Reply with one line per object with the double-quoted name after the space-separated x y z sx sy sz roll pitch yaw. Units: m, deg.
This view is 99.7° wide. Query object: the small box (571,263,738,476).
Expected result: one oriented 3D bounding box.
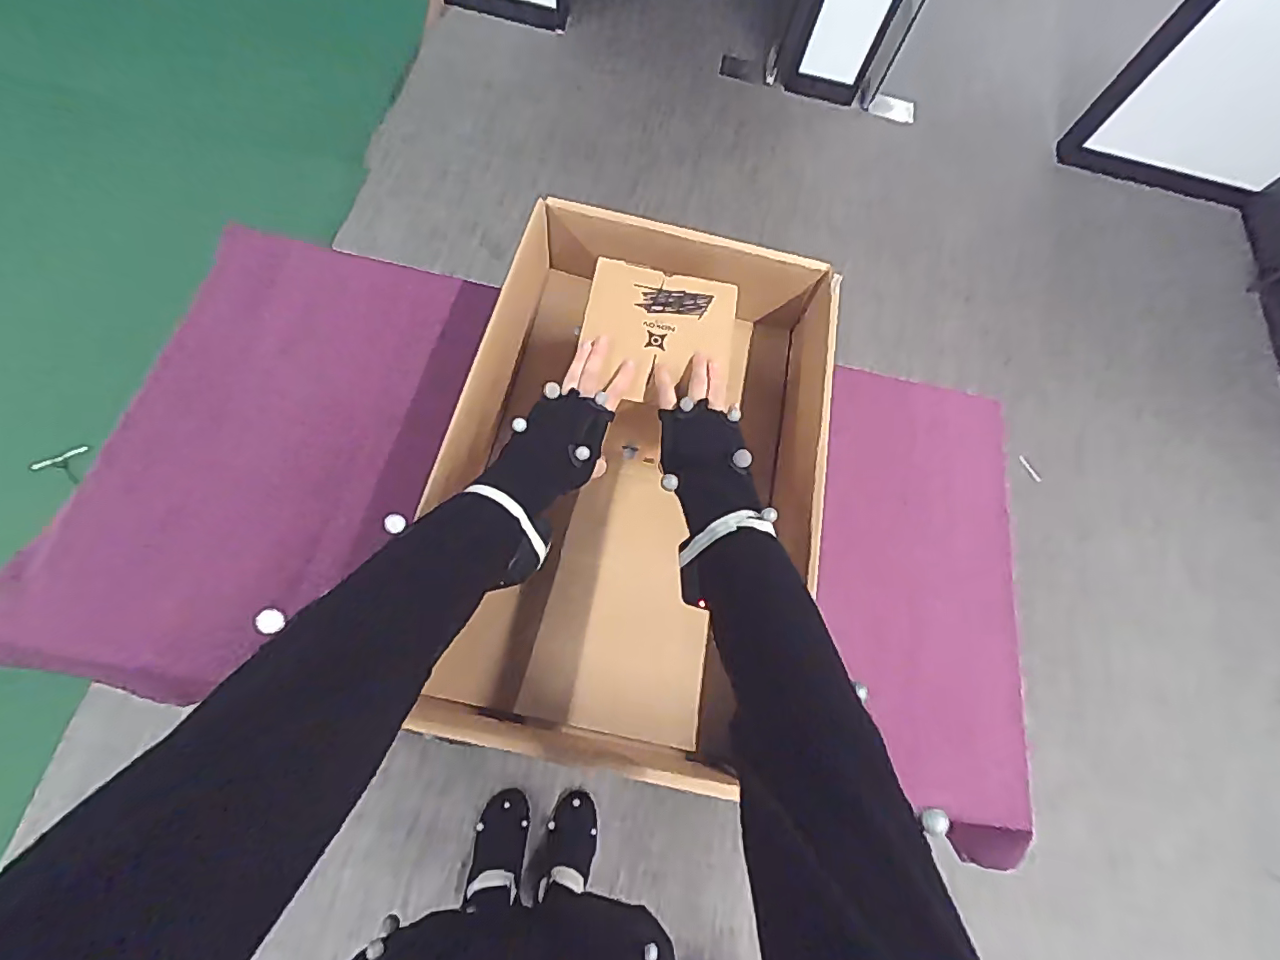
0.011 -0.125 0.663 0.168 0.176 0.179 11 70 -3 "small box"
